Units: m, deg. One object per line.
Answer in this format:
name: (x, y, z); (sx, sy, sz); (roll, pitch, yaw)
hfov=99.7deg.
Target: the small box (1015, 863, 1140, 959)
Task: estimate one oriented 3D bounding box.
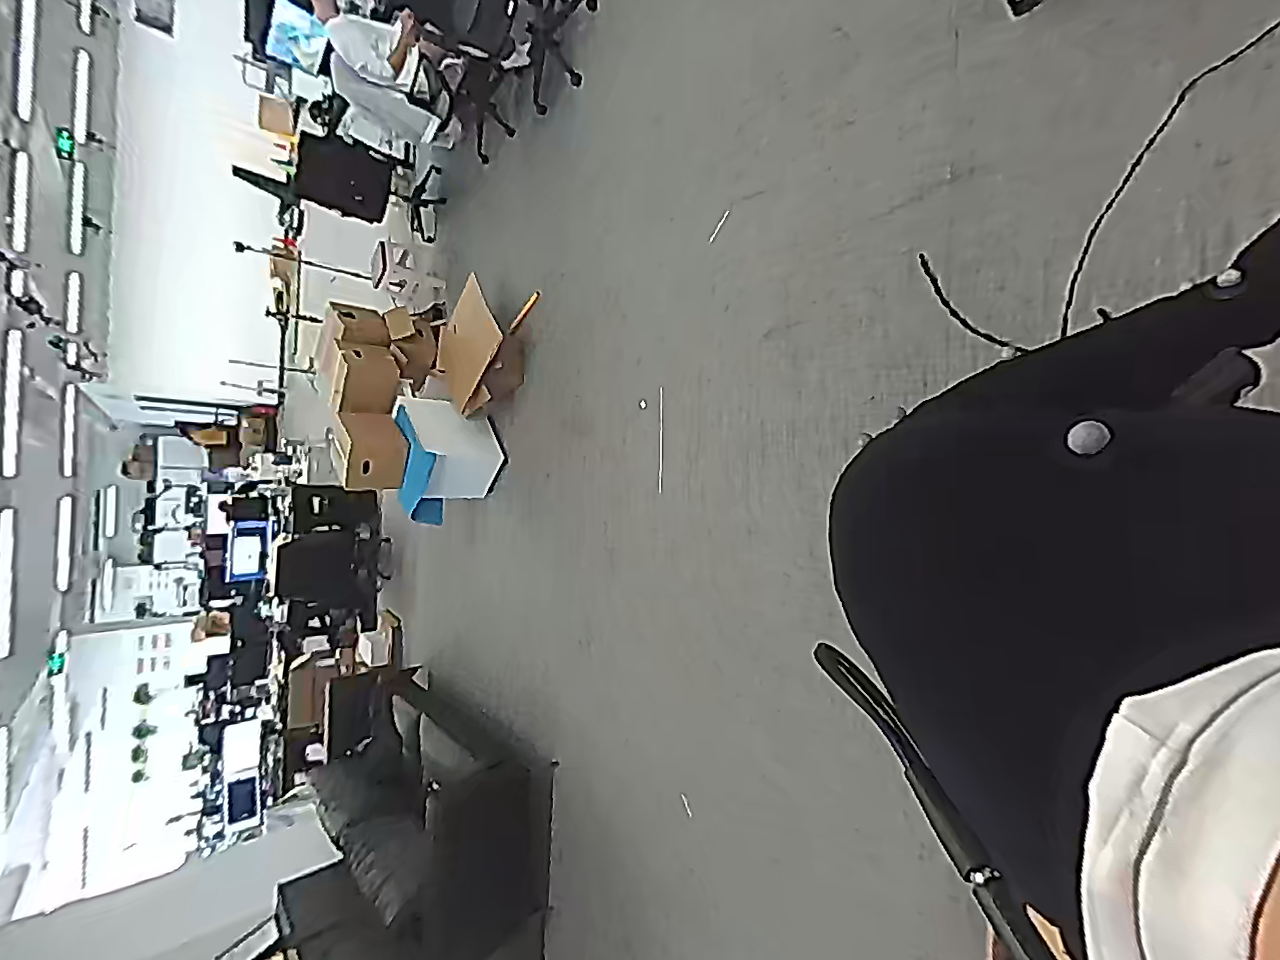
small box: (0.967, 0.994, 1.194); (0.179, 0.176, 0.168); (10, 96, 48)
